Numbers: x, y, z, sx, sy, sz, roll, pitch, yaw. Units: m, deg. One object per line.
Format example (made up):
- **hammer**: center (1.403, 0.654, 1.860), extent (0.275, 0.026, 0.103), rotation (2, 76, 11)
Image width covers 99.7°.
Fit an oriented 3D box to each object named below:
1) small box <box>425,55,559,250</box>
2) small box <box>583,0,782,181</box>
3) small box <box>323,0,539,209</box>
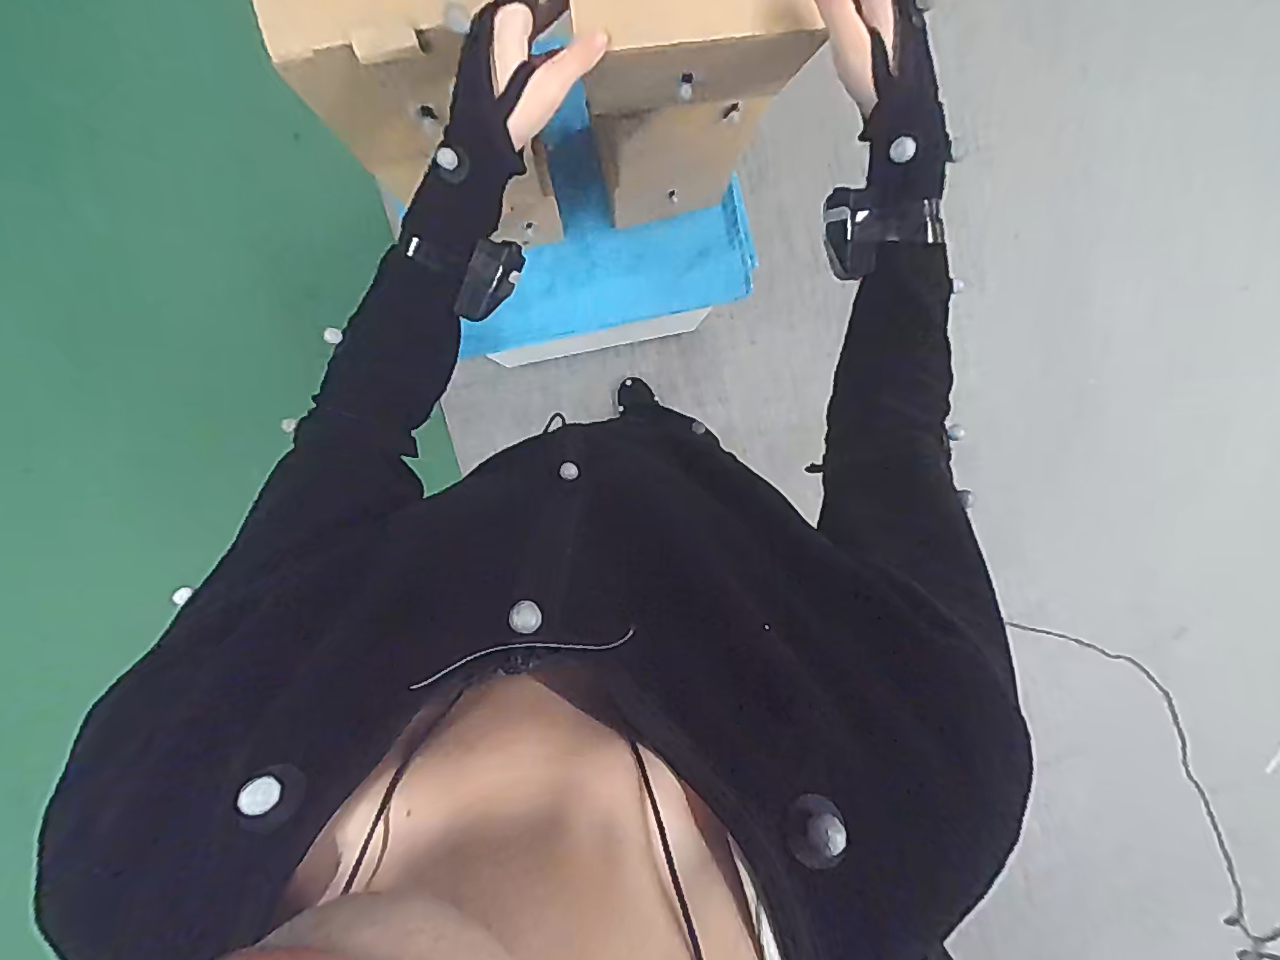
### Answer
- **small box**: center (-0.215, -0.443, 0.764), extent (0.168, 0.176, 0.179), rotation (-12, 96, -3)
- **small box**: center (0.036, -0.471, 0.607), extent (0.179, 0.176, 0.168), rotation (-15, 96, -1)
- **small box**: center (-0.217, -0.425, 0.603), extent (0.168, 0.176, 0.179), rotation (-11, 95, -2)
